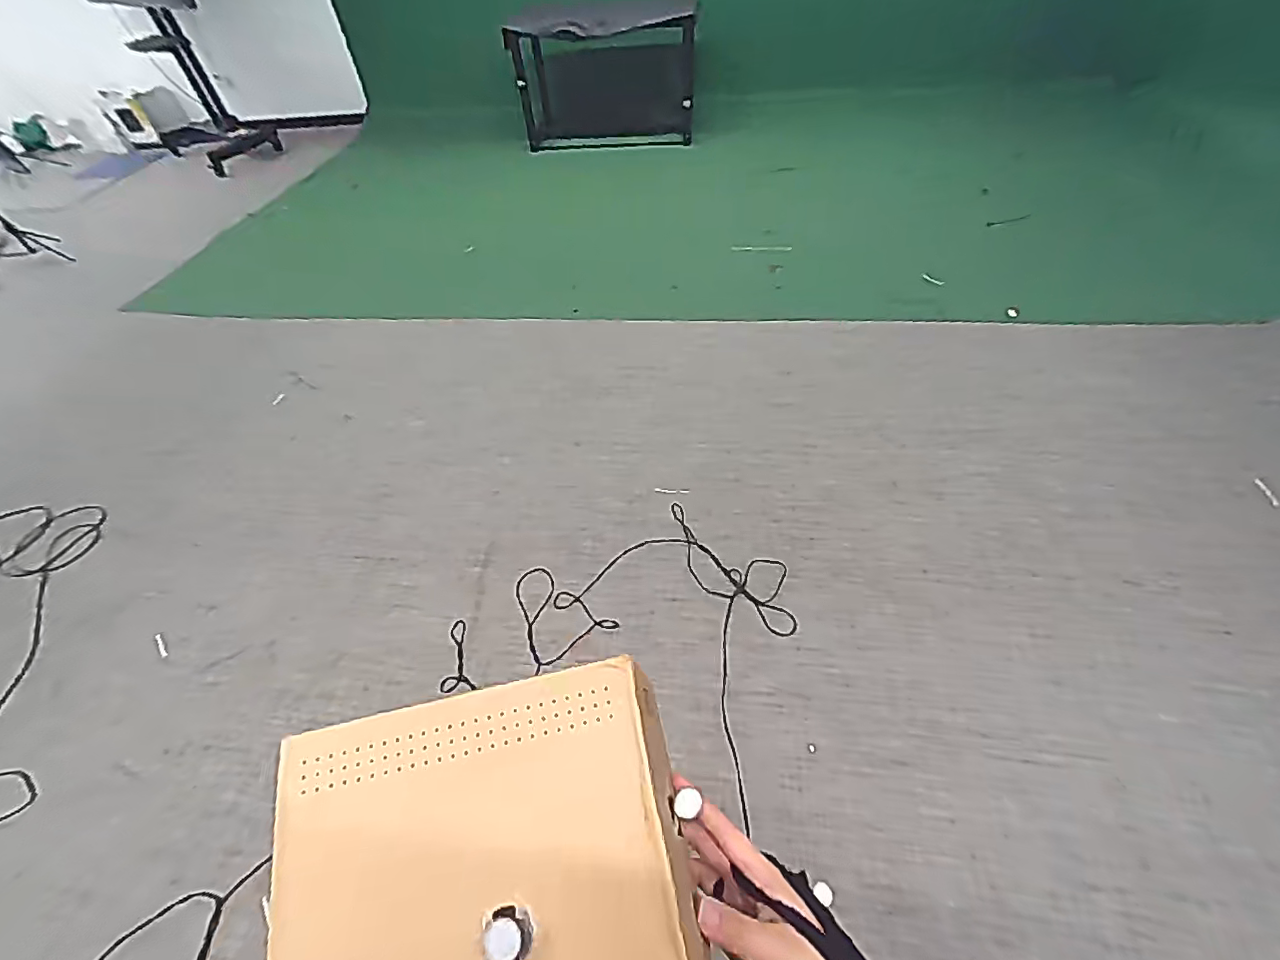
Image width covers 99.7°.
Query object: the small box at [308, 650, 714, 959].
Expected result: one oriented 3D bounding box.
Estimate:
[{"bbox_3d":[-0.064,0.207,0.312,0.179,0.168,0.176,-14,64,-1],"label":"small box"}]
